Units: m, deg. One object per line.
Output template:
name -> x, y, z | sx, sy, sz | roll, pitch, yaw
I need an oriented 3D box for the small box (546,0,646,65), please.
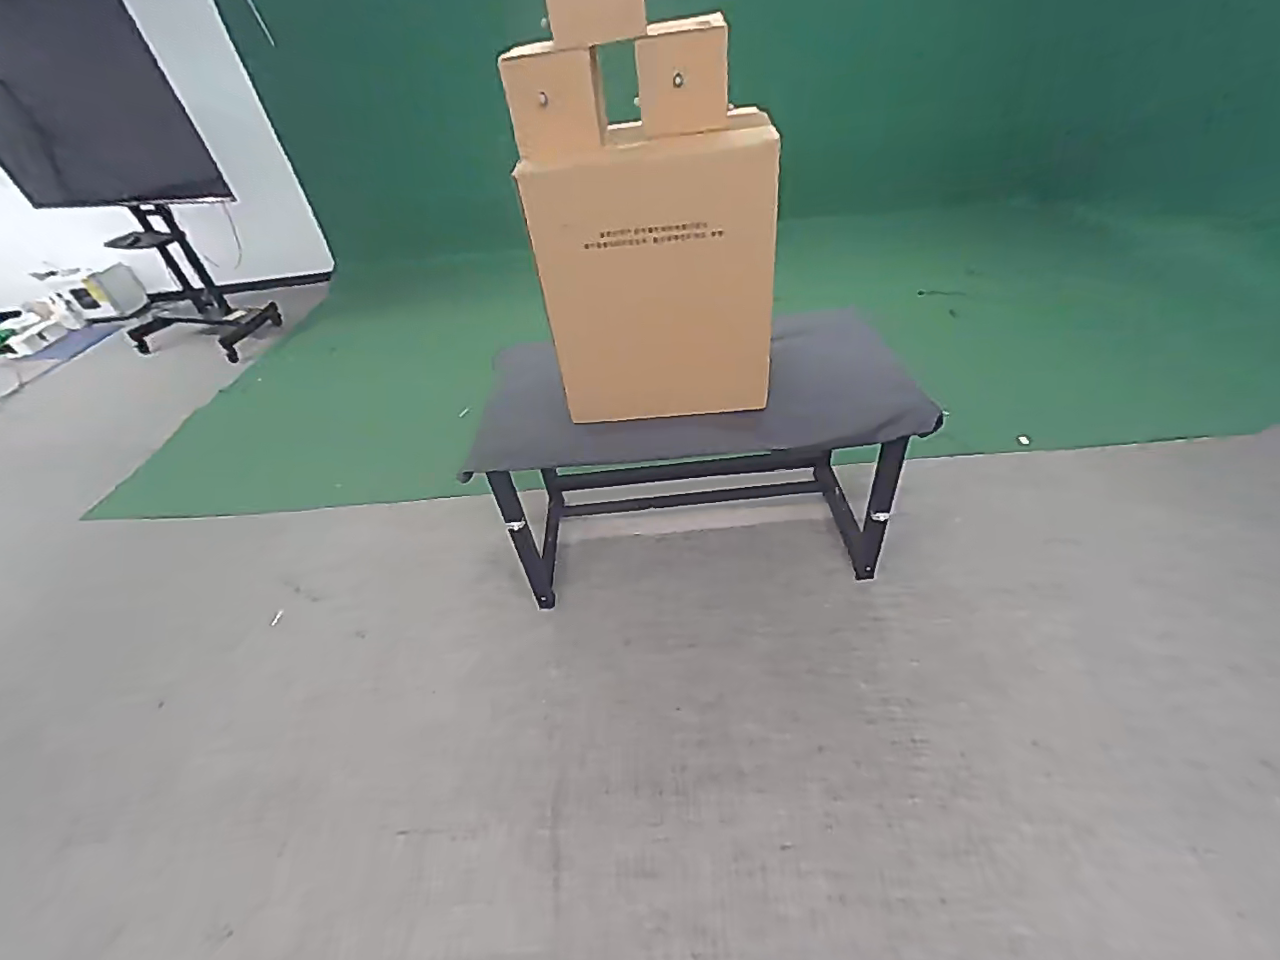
small box -> -0.088, -0.903, 1.015 | 0.179, 0.176, 0.168 | -12, 43, 0

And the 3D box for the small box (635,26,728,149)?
small box -> 0.090, -0.811, 1.122 | 0.179, 0.176, 0.168 | -4, 45, 7

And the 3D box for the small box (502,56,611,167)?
small box -> -0.165, -0.775, 1.133 | 0.179, 0.176, 0.168 | -3, 45, 7
